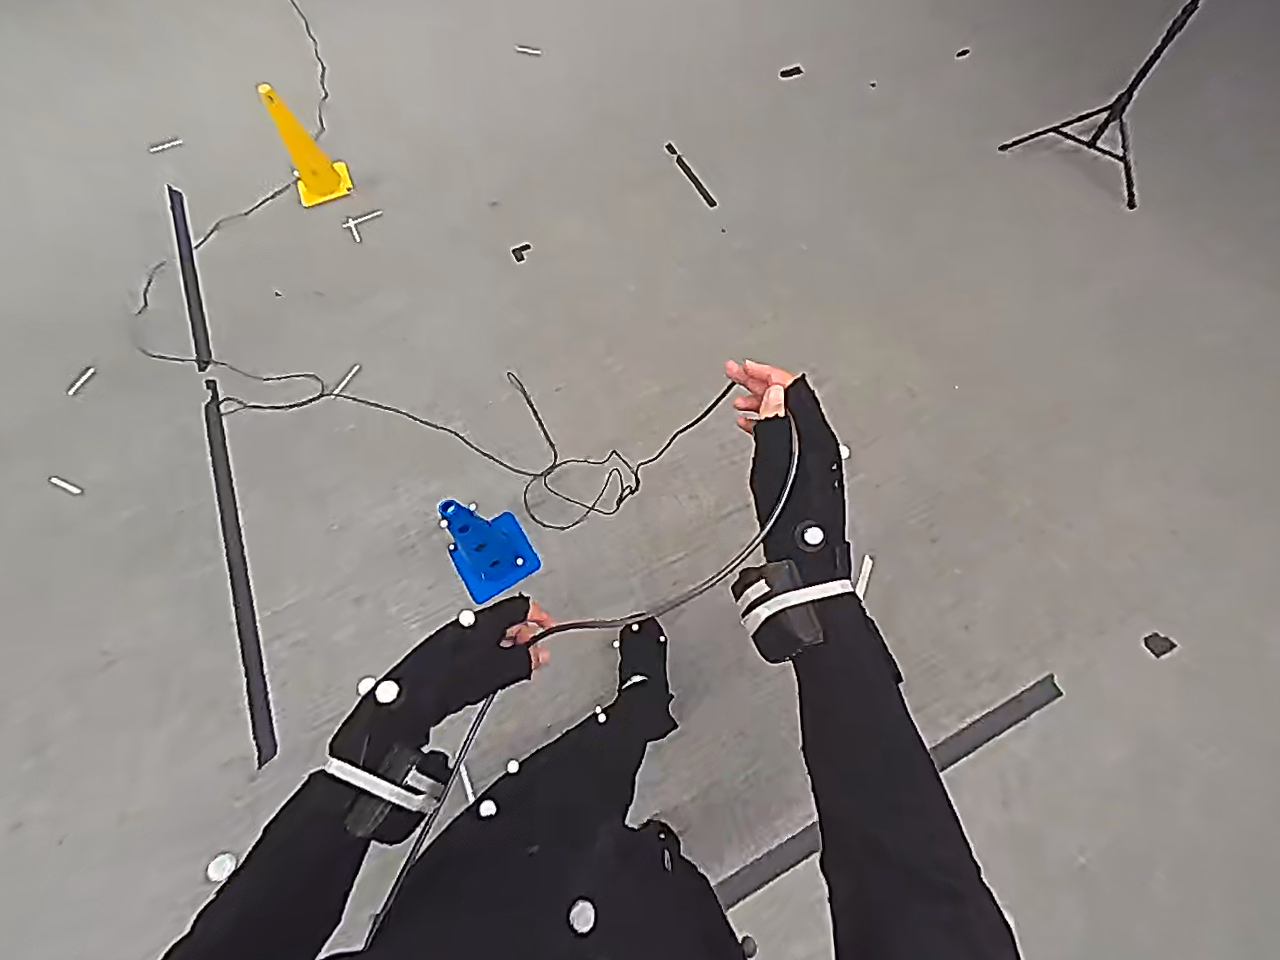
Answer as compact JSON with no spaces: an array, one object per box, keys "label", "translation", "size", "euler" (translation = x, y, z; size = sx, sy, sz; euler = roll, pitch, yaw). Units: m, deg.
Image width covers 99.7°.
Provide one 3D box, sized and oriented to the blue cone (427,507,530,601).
[{"label":"blue cone","translation":[-0.414,0.142,1.308],"size":[0.192,0.380,0.193],"euler":[-30,68,-10]}]
